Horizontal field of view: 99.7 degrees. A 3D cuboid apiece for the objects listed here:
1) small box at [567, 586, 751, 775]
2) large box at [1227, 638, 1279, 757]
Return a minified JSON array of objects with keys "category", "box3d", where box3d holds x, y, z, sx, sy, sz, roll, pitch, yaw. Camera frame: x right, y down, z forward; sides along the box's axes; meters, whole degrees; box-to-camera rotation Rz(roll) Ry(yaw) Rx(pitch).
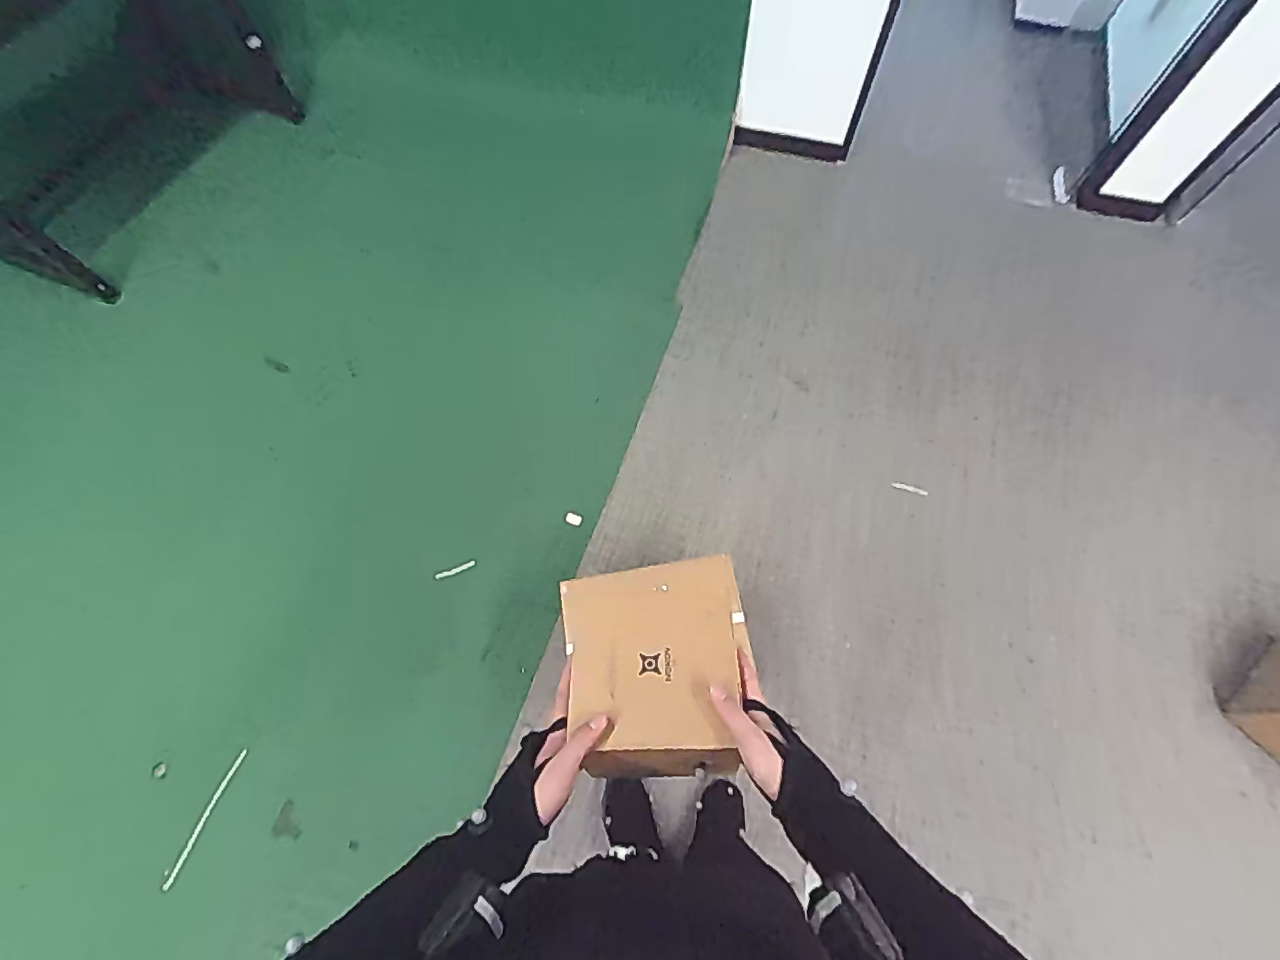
[{"category":"small box","box3d":[0.023,0.232,0.617,0.179,0.176,0.168,-3,53,4]},{"category":"large box","box3d":[1.744,0.583,1.227,0.320,0.320,0.408,-37,69,-15]}]
